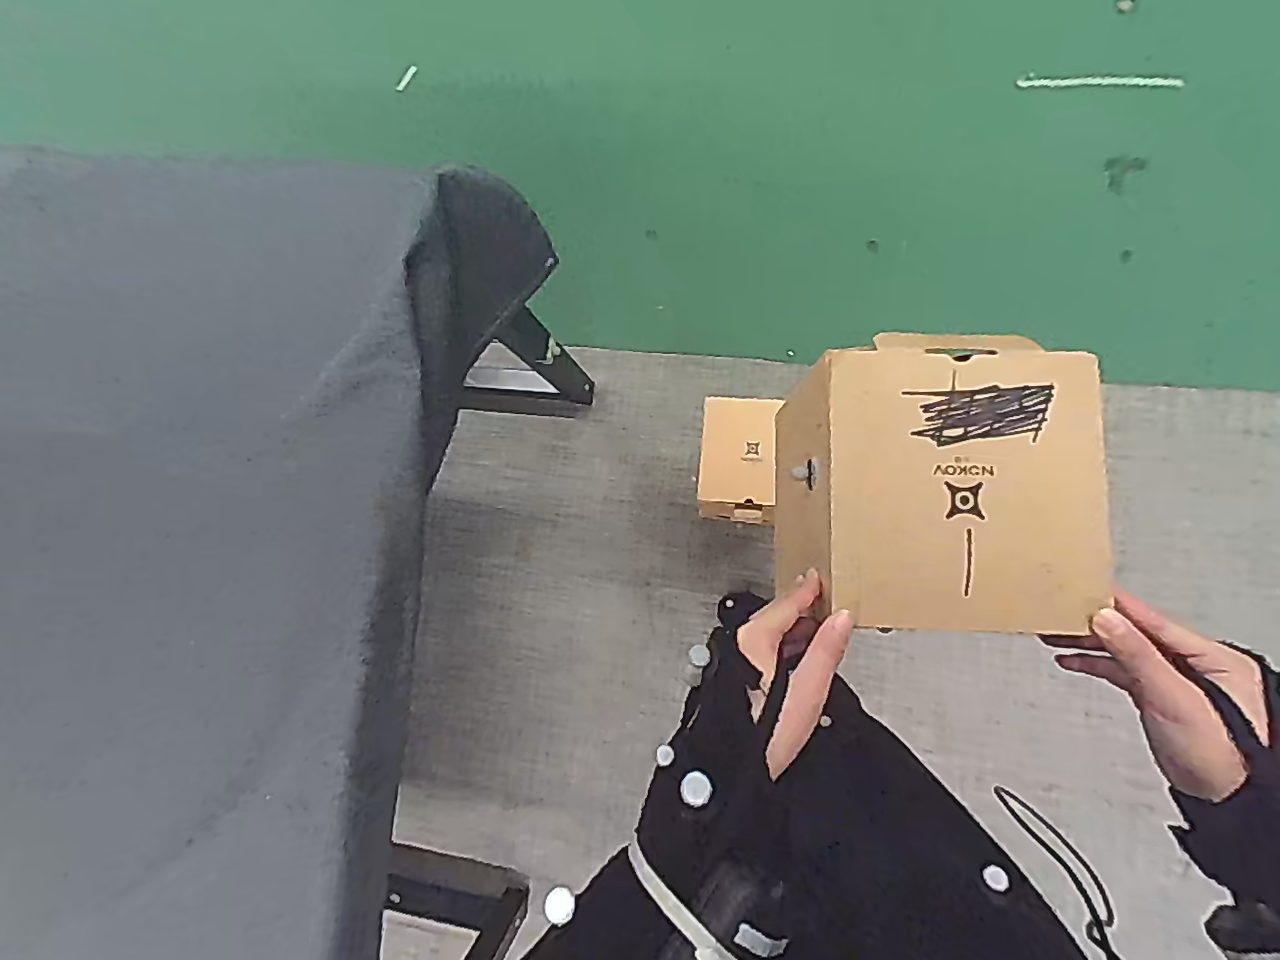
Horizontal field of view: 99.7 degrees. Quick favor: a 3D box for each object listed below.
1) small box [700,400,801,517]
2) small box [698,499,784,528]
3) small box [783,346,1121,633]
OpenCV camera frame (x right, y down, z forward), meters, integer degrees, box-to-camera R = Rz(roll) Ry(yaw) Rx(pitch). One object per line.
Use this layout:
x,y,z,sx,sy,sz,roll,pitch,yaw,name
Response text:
0.194,-0.031,0.945,0.168,0.176,0.179,3,84,9,small box
0.214,0.005,1.105,0.168,0.176,0.179,5,85,11,small box
0.208,0.014,0.412,0.168,0.176,0.179,2,82,3,small box
